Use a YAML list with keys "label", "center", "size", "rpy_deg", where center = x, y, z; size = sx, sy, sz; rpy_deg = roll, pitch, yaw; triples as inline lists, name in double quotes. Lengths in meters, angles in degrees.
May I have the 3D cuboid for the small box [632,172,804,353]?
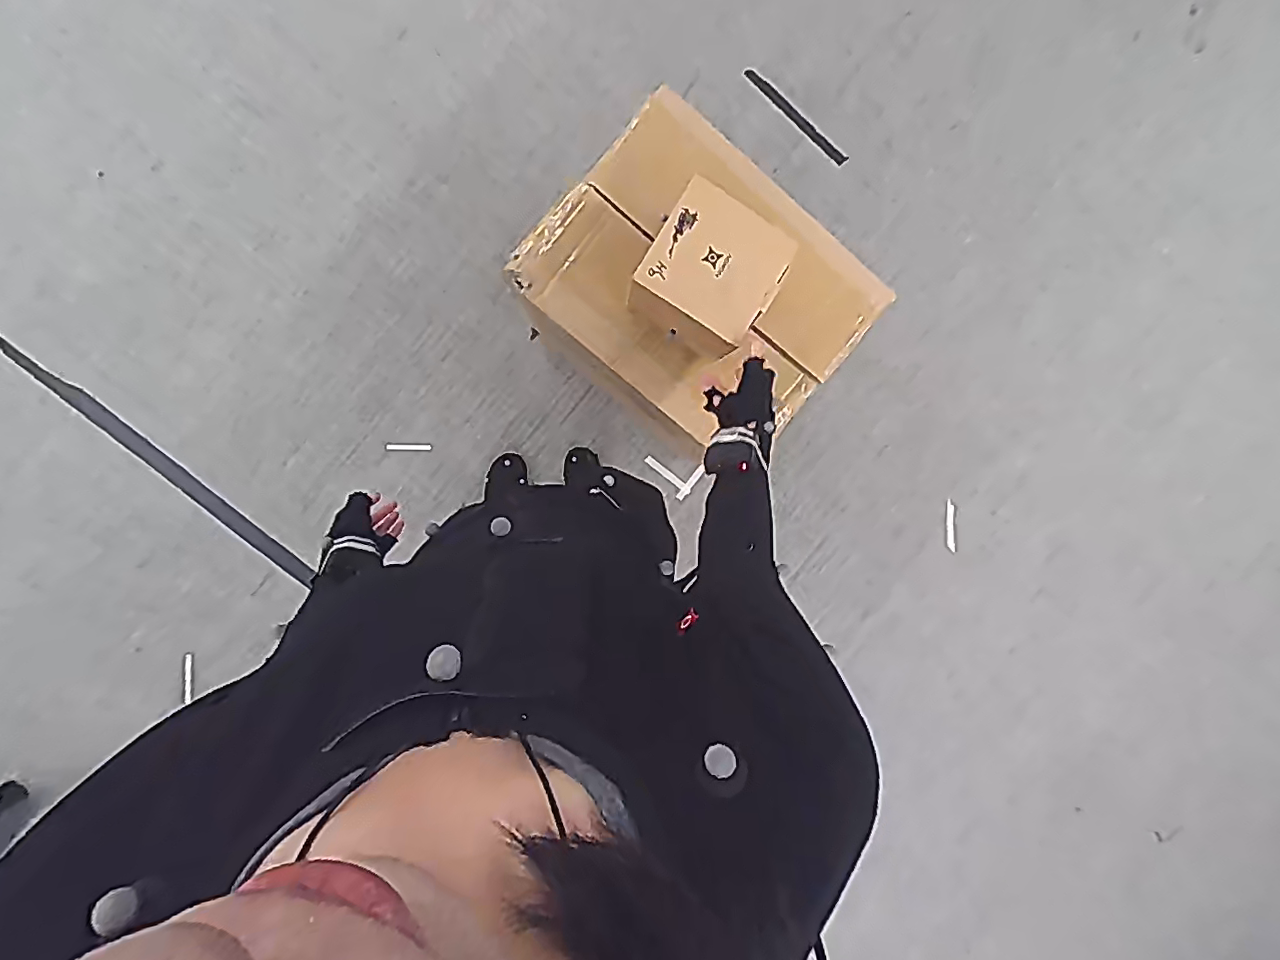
- label: "small box"
  center: [0.104, -0.305, 0.806]
  size: [0.179, 0.176, 0.168]
  rpy_deg: [32, 92, -6]
